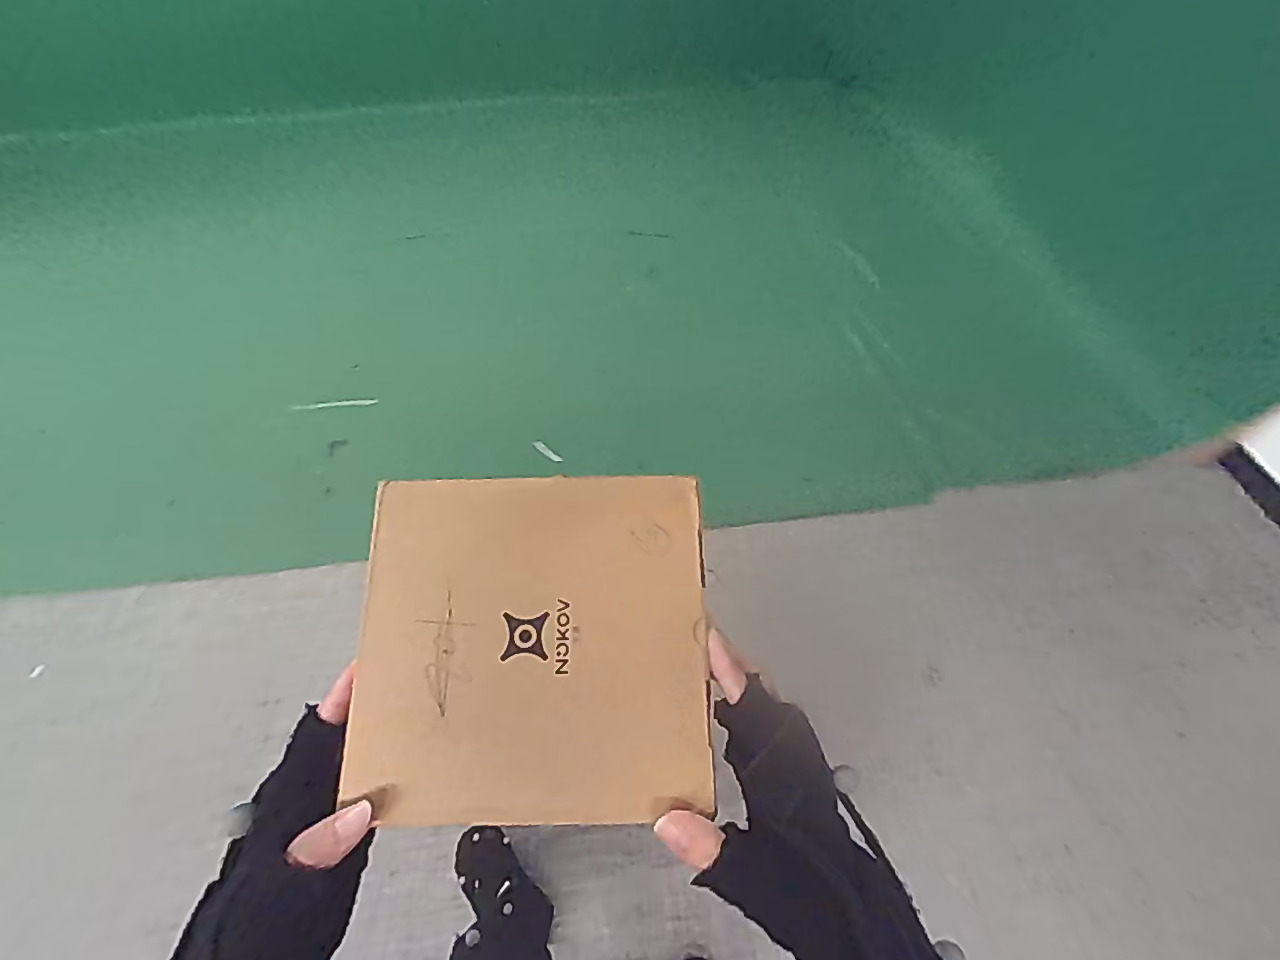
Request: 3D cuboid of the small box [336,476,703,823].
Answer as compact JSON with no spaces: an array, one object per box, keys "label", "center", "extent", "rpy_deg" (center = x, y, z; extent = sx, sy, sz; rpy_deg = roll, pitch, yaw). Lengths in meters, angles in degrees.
[{"label":"small box","center":[-0.060,0.103,0.353],"extent":[0.179,0.176,0.168],"rpy_deg":[-4,72,1]}]
